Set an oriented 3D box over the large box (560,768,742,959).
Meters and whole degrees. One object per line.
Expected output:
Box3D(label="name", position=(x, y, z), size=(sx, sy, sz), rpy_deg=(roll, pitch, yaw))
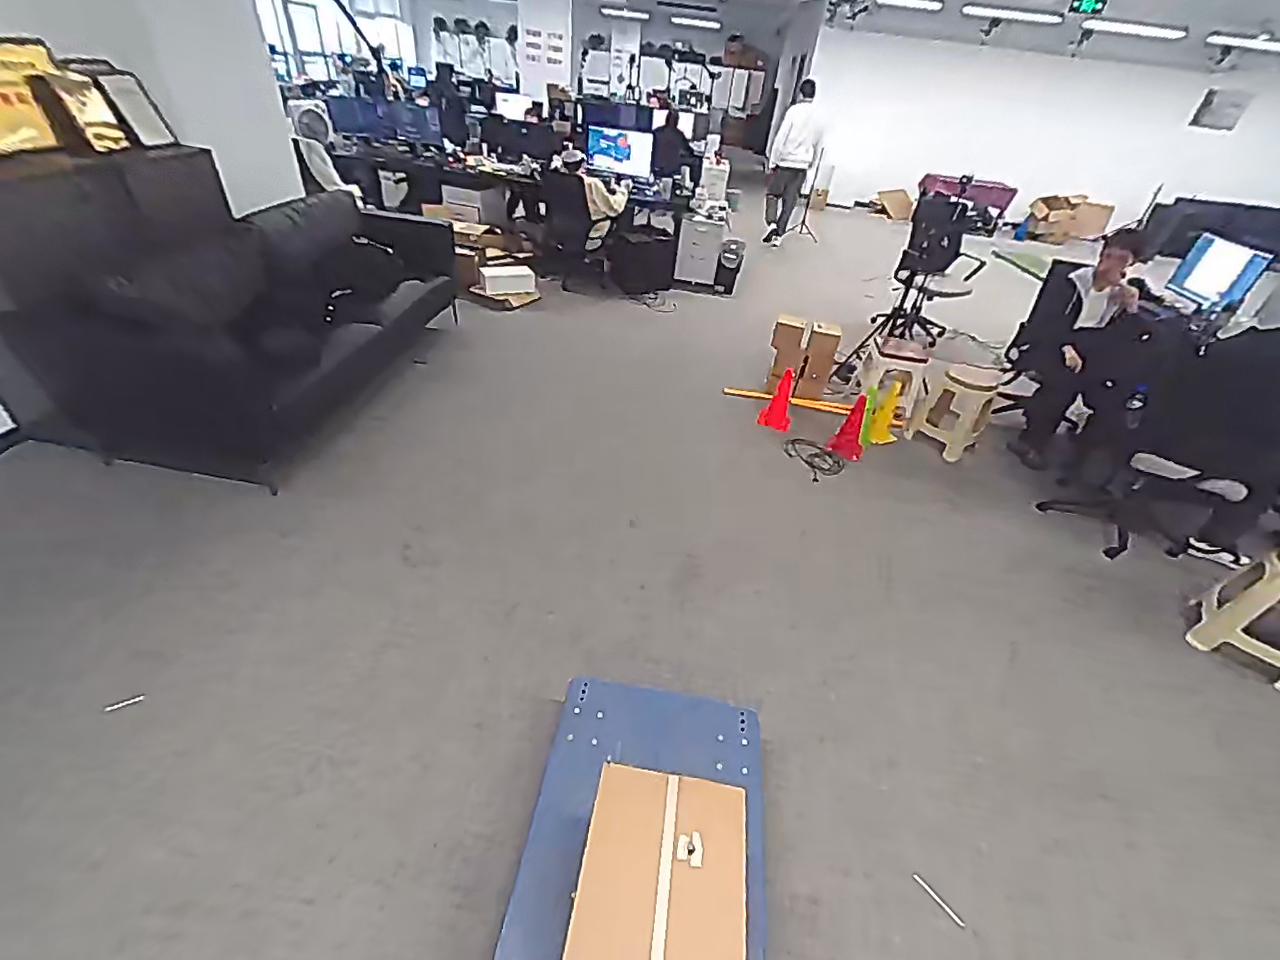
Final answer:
Box3D(label="large box", position=(0.021, 0.881, 1.094), size=(0.320, 0.320, 0.408), rpy_deg=(10, 36, 3))
